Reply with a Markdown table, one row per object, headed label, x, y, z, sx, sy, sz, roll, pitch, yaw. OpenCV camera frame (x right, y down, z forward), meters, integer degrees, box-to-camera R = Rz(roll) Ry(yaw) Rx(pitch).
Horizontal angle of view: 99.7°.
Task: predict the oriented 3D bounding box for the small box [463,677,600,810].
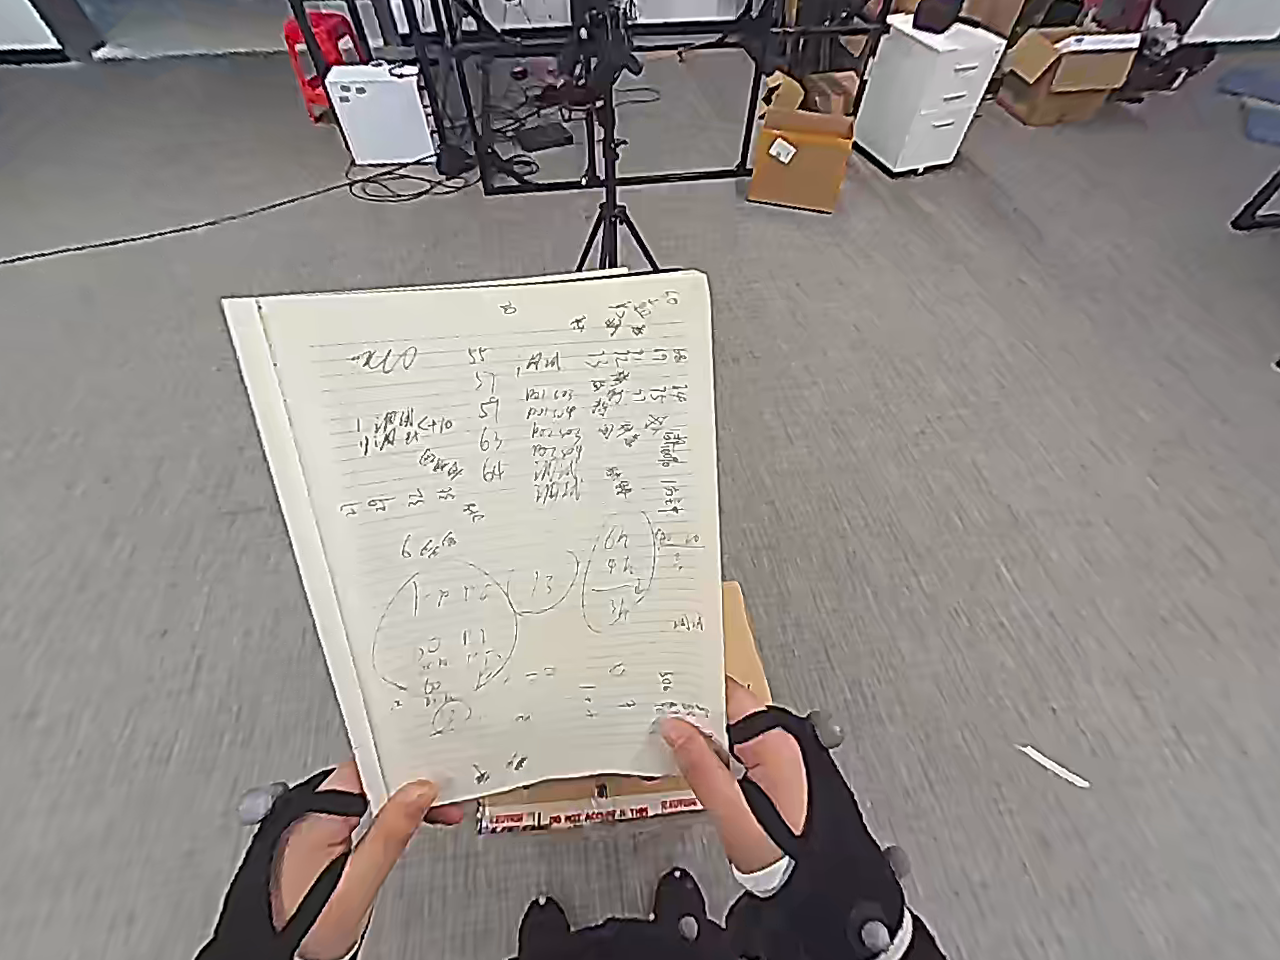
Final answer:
| label | x | y | z | sx | sy | sz | roll | pitch | yaw |
| --- | --- | --- | --- | --- | --- | --- | --- | --- | --- |
| small box | -0.154 | 0.410 | 0.837 | 0.179 | 0.176 | 0.168 | -2 | 56 | 0 |

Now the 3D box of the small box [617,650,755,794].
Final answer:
| label | x | y | z | sx | sy | sz | roll | pitch | yaw |
| --- | --- | --- | --- | --- | --- | --- | --- | --- | --- |
| small box | 0.061 | 0.387 | 0.859 | 0.179 | 0.176 | 0.168 | -7 | 56 | -8 |
